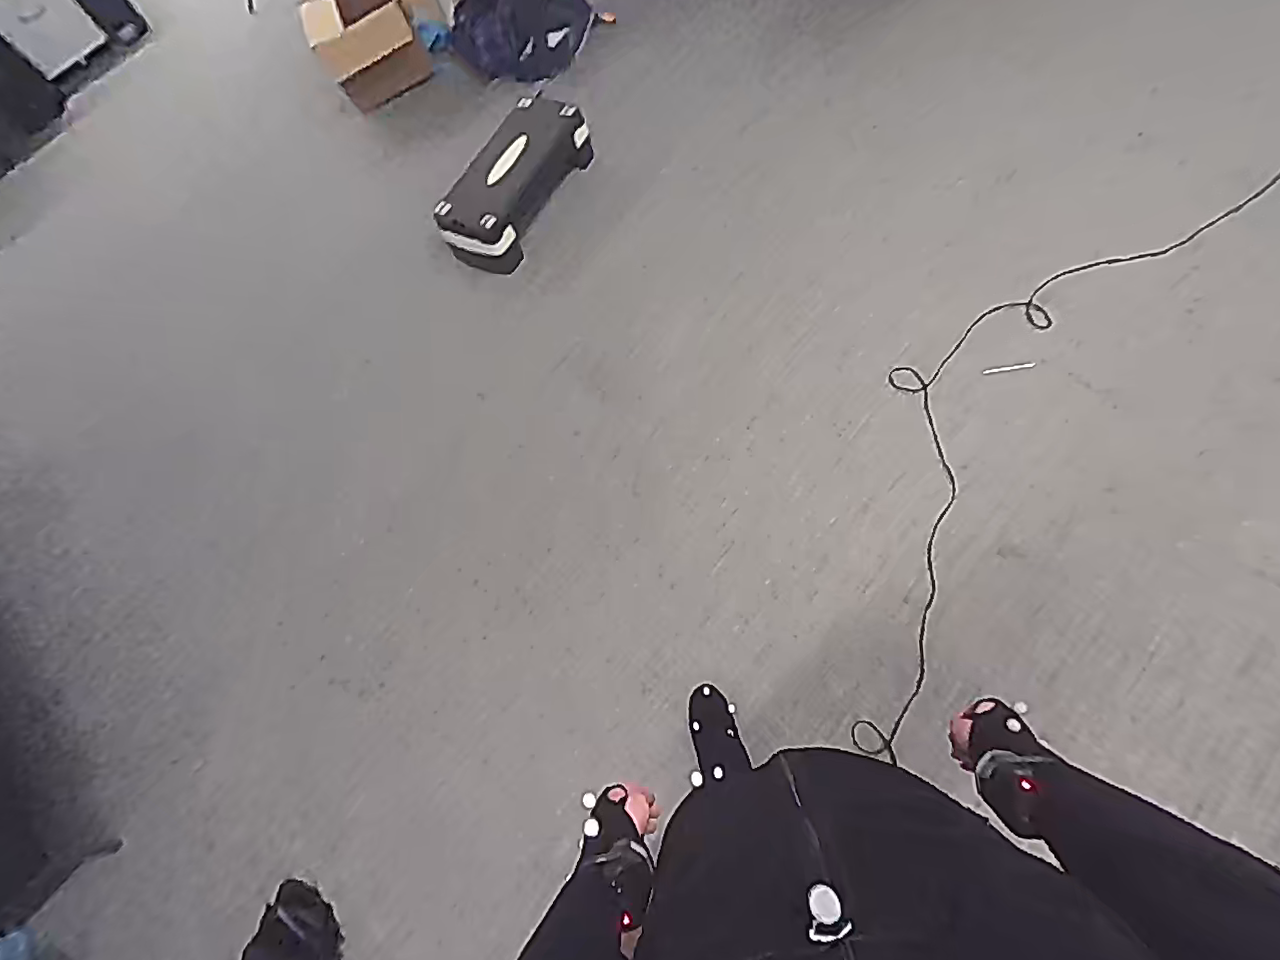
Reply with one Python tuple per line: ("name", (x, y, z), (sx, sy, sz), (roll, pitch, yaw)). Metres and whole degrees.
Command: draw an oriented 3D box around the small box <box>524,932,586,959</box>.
("small box", (-0.152, 0.898, 0.880), (0.179, 0.176, 0.168), (28, 77, 20))
